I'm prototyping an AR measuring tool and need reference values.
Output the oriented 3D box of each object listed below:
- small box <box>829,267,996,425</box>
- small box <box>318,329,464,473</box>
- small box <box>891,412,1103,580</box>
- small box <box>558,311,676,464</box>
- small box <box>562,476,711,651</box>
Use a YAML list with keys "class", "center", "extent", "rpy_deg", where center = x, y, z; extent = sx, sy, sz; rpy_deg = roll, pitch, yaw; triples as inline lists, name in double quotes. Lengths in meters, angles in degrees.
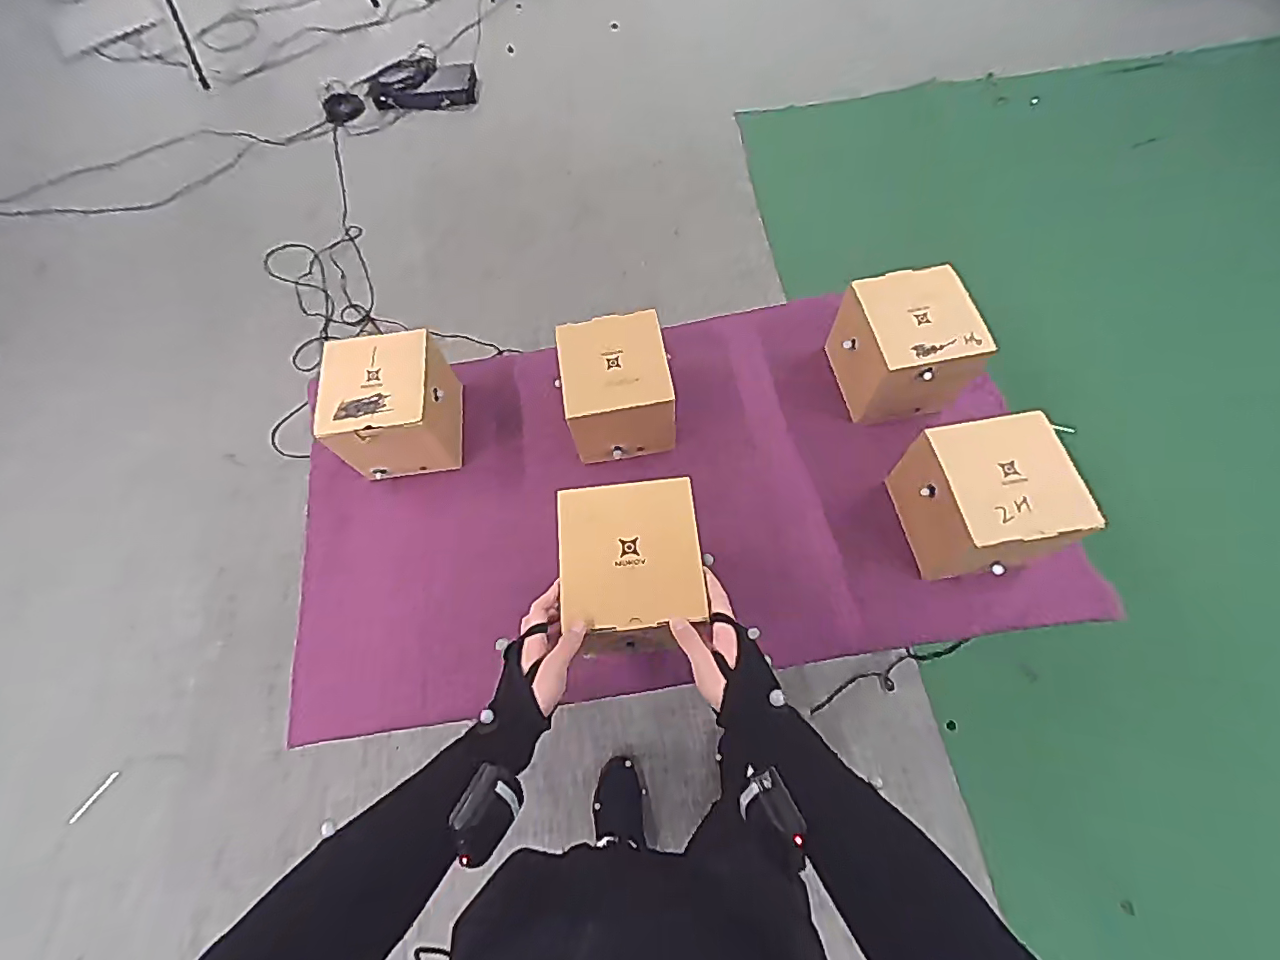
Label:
- class: "small box"
  center: [0.432, -0.216, 0.896]
  extent: [0.168, 0.176, 0.179]
  rpy_deg: [-11, 65, 0]
- class: "small box"
  center: [-0.402, -0.122, 0.905]
  extent: [0.168, 0.176, 0.179]
  rpy_deg: [-7, 66, 0]
- class: "small box"
  center: [0.488, 0.029, 0.777]
  extent: [0.168, 0.176, 0.179]
  rpy_deg: [-9, 65, 1]
- class: "small box"
  center: [-0.035, -0.148, 0.898]
  extent: [0.168, 0.176, 0.179]
  rpy_deg: [-9, 66, 0]
- class: "small box"
  center: [-0.007, 0.113, 0.701]
  extent: [0.168, 0.176, 0.179]
  rpy_deg: [-6, 65, 0]
